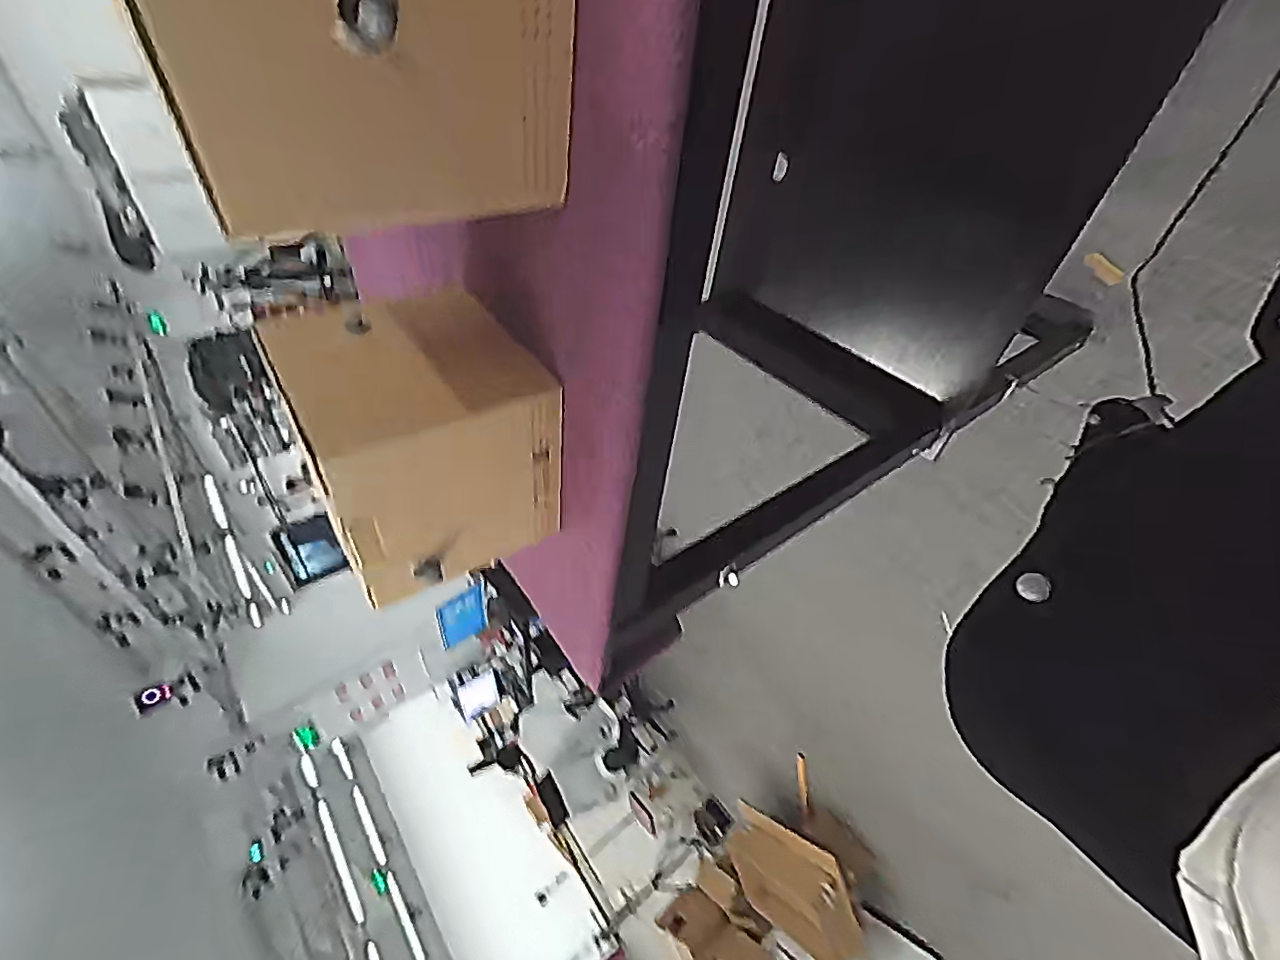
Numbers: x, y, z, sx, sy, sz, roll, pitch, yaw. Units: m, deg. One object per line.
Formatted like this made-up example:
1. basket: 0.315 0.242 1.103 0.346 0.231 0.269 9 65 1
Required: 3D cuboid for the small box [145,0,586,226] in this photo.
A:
1. small box: -0.134 -0.251 0.255 0.168 0.176 0.179 48 147 29
